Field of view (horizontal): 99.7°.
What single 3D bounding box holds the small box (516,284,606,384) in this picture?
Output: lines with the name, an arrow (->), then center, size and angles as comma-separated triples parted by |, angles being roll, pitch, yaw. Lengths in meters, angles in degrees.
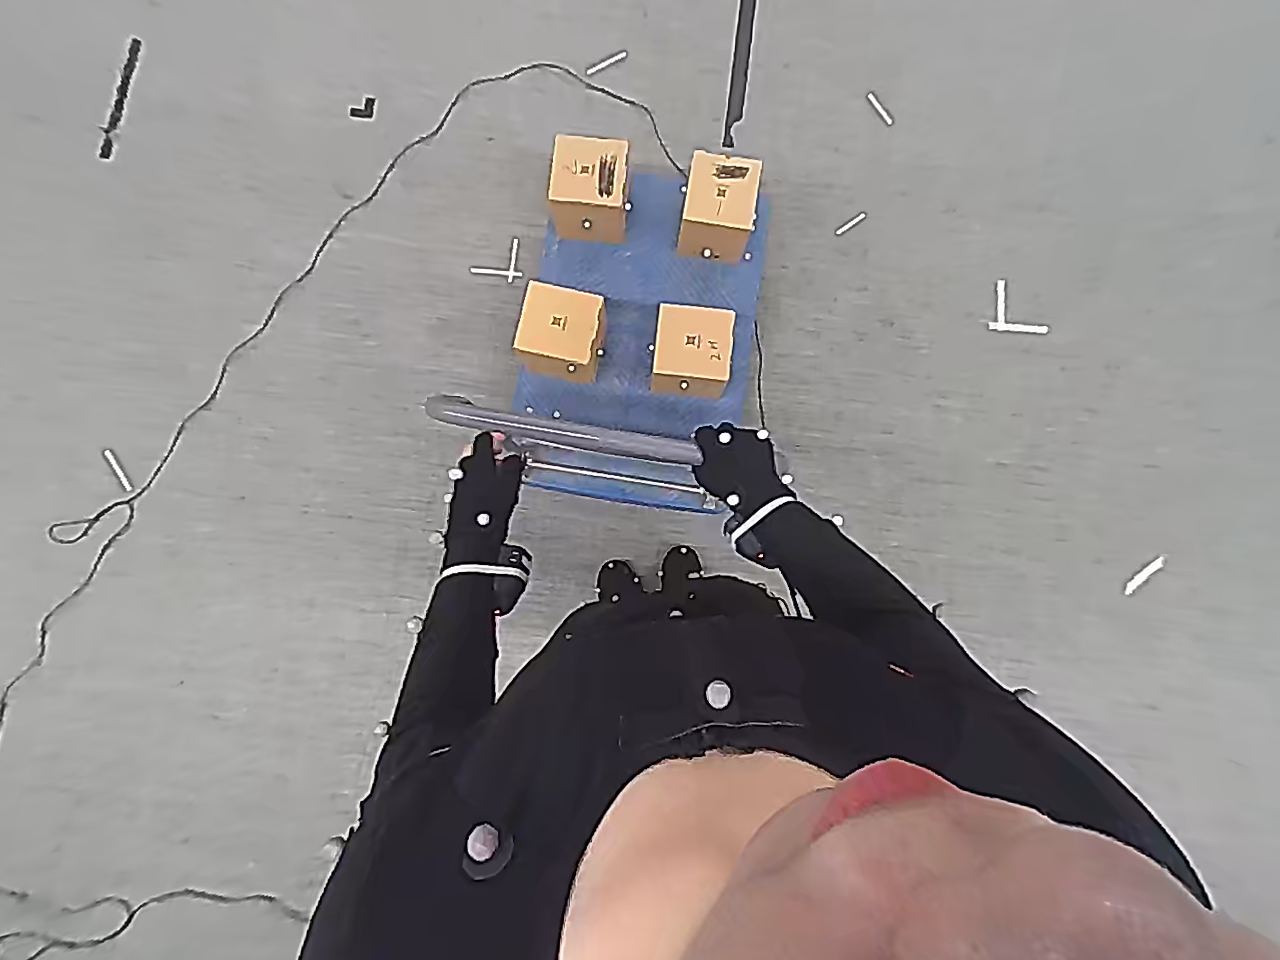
small box -> -0.184, -0.344, 1.305 | 0.179, 0.176, 0.168 | 12, 83, -2

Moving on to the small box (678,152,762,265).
small box -> 0.191, -0.667, 1.342 | 0.168, 0.176, 0.179 | 9, 85, 0

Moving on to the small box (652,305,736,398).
small box -> 0.124, -0.302, 1.304 | 0.179, 0.176, 0.168 | 6, 84, 0
